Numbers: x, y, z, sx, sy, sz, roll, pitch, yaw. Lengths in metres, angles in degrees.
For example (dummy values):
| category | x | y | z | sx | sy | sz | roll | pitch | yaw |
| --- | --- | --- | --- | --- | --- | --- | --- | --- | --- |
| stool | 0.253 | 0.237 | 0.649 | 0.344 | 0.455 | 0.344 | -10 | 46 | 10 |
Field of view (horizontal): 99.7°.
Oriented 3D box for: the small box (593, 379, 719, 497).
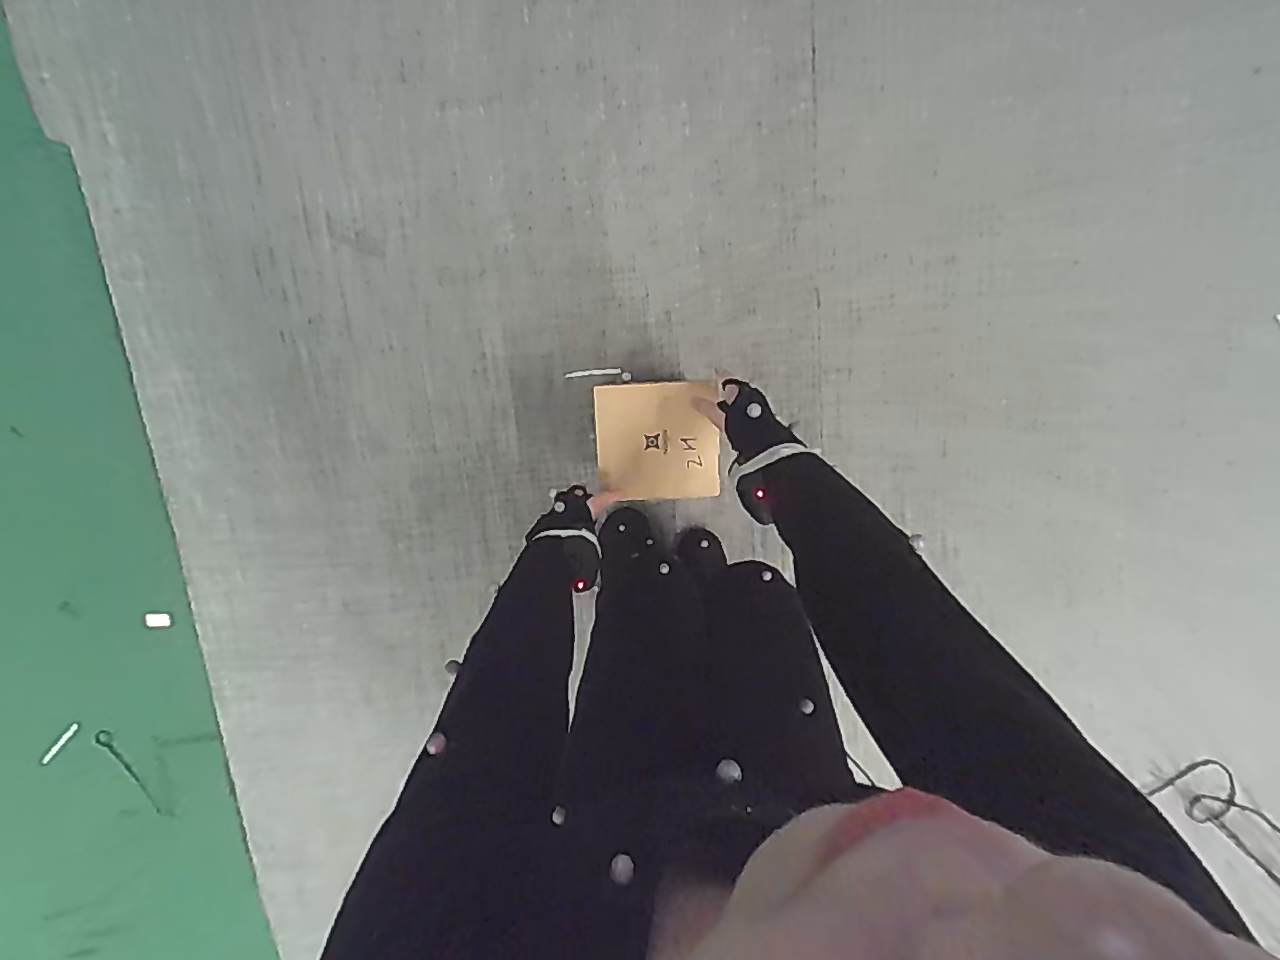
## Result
| category | x | y | z | sx | sy | sz | roll | pitch | yaw |
| --- | --- | --- | --- | --- | --- | --- | --- | --- | --- |
| small box | 0.024 | -0.071 | 0.841 | 0.179 | 0.176 | 0.168 | -2 | 102 | 0 |
